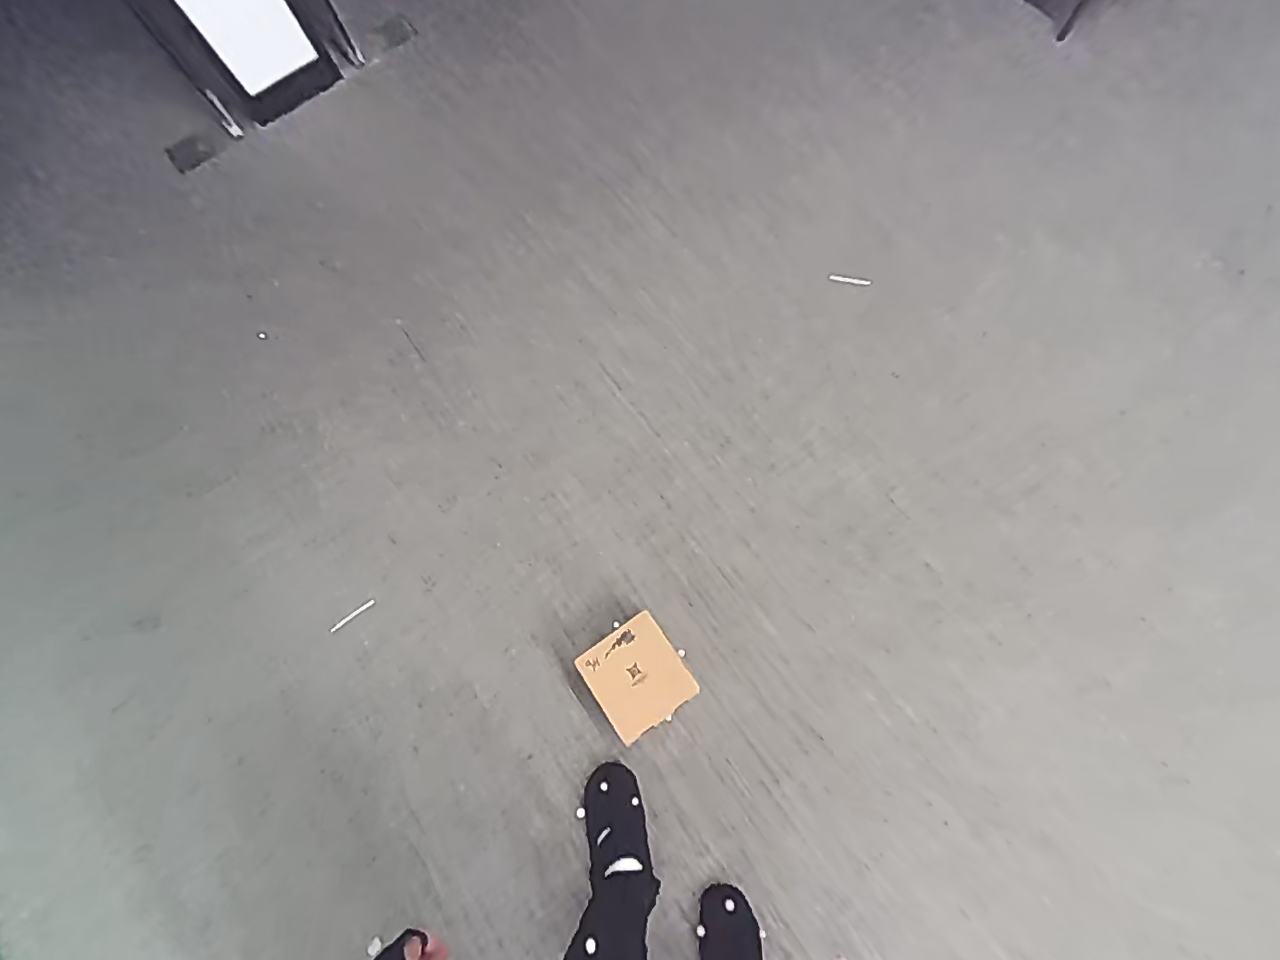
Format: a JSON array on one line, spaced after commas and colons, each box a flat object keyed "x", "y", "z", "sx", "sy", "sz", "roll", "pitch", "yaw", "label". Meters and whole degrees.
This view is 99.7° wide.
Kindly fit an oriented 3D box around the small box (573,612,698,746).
[{"x": -0.004, "y": 0.375, "z": 1.048, "sx": 0.168, "sy": 0.176, "sz": 0.179, "roll": -34, "pitch": 75, "yaw": -7, "label": "small box"}]
